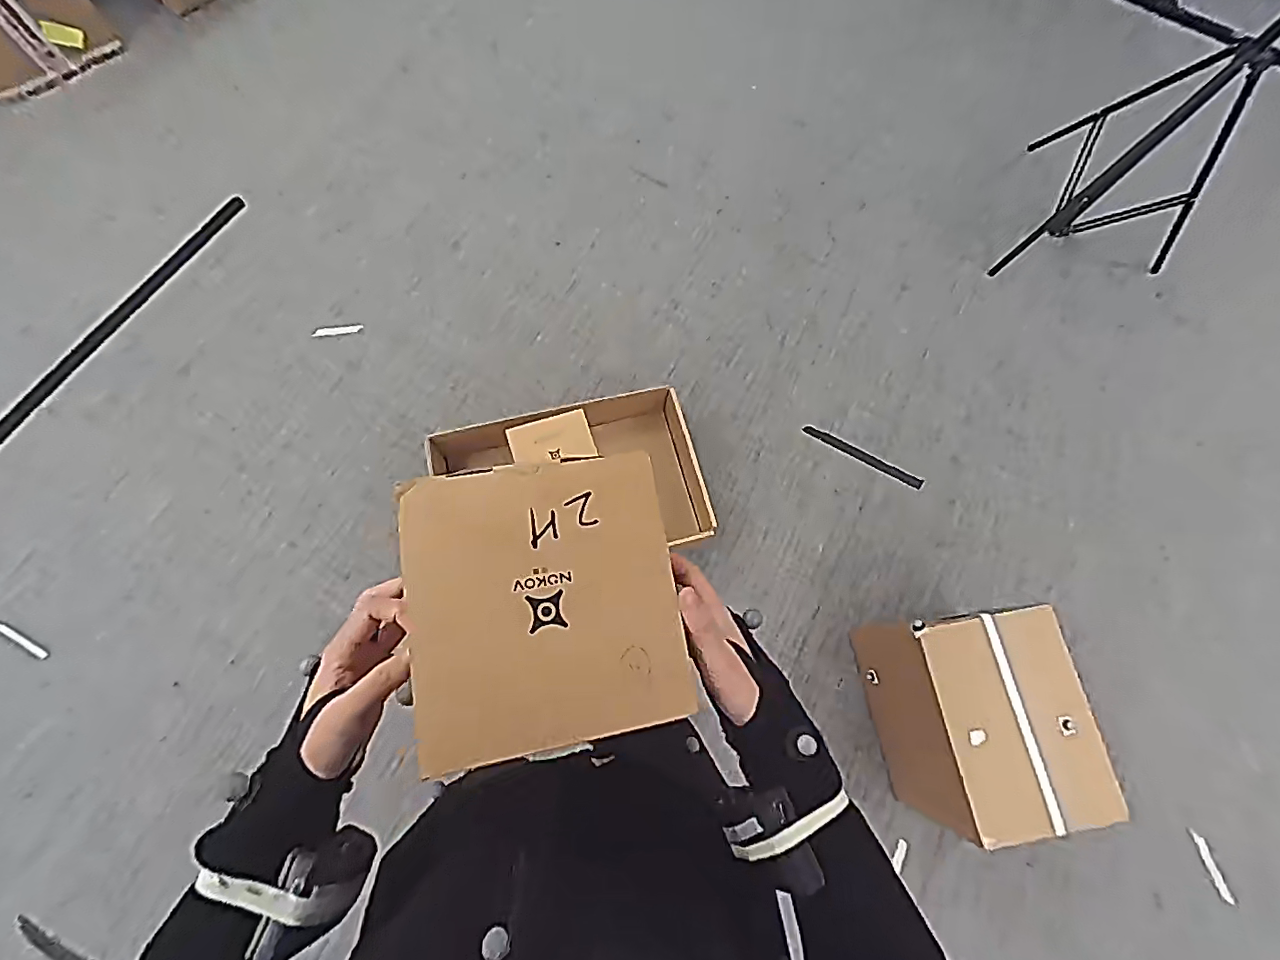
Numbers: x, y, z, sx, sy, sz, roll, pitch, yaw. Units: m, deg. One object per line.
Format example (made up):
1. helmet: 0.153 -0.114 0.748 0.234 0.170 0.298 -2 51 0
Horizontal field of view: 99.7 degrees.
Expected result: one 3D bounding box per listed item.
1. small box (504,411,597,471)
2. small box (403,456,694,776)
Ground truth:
1. small box: -0.178 -0.019 1.160 0.168 0.176 0.179 -18 74 -11
2. small box: -0.070 0.095 0.417 0.168 0.176 0.179 -8 77 -12
